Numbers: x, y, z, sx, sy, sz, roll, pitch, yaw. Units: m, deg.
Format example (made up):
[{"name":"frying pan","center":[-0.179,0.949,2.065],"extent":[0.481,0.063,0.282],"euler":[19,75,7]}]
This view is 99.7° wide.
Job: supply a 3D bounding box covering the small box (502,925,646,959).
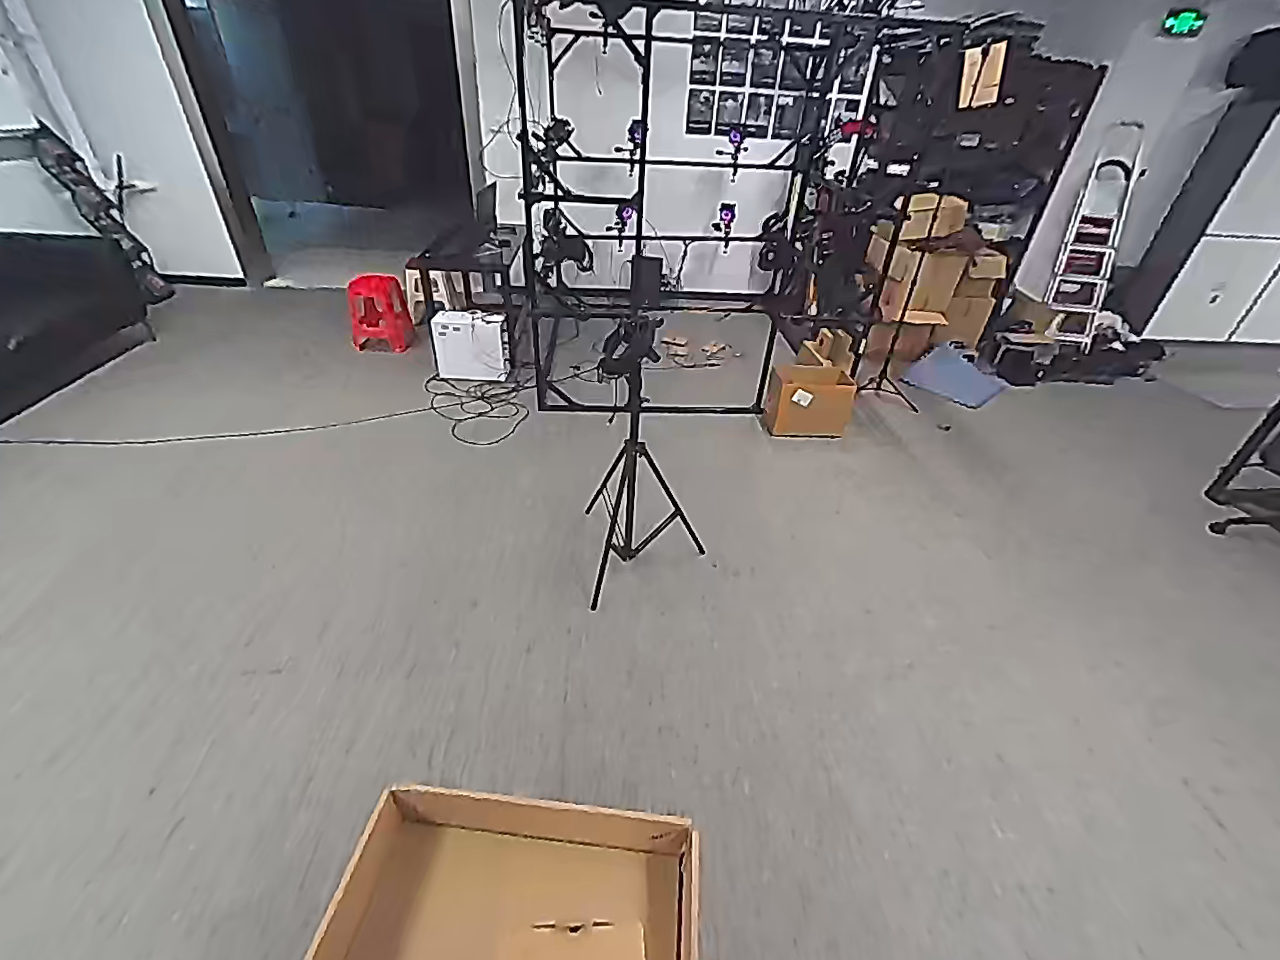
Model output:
[{"name":"small box","center":[-0.081,0.634,0.603],"extent":[0.168,0.176,0.179],"euler":[3,36,-6]}]
